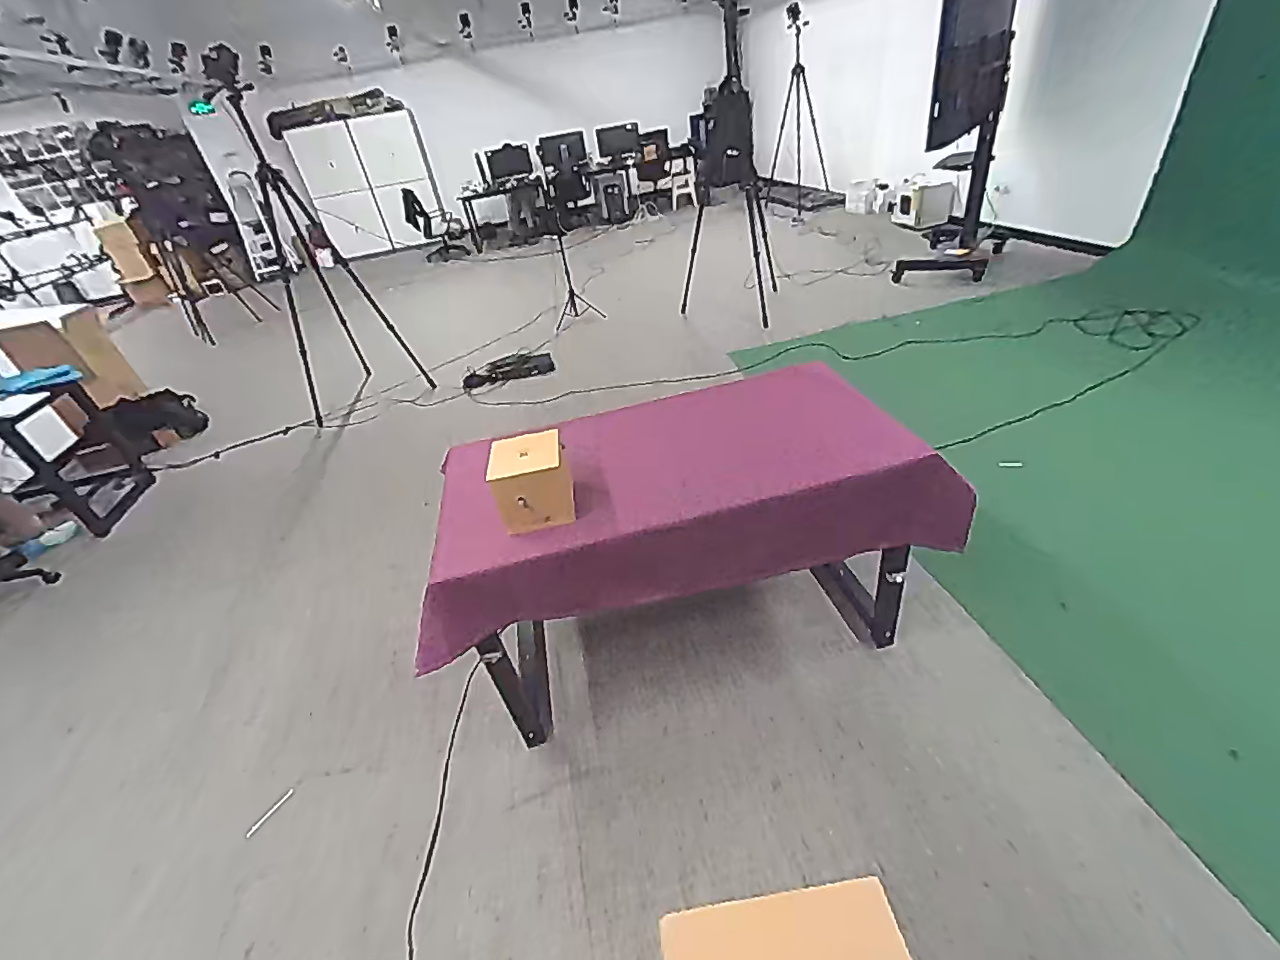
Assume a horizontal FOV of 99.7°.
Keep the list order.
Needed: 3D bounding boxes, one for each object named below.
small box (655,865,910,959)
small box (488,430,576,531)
[{"bbox_3d":[0.110,0.423,0.403,0.179,0.176,0.168,-6,38,-5],"label":"small box"},{"bbox_3d":[-0.252,0.006,1.301,0.168,0.176,0.179,-12,34,-1],"label":"small box"}]
